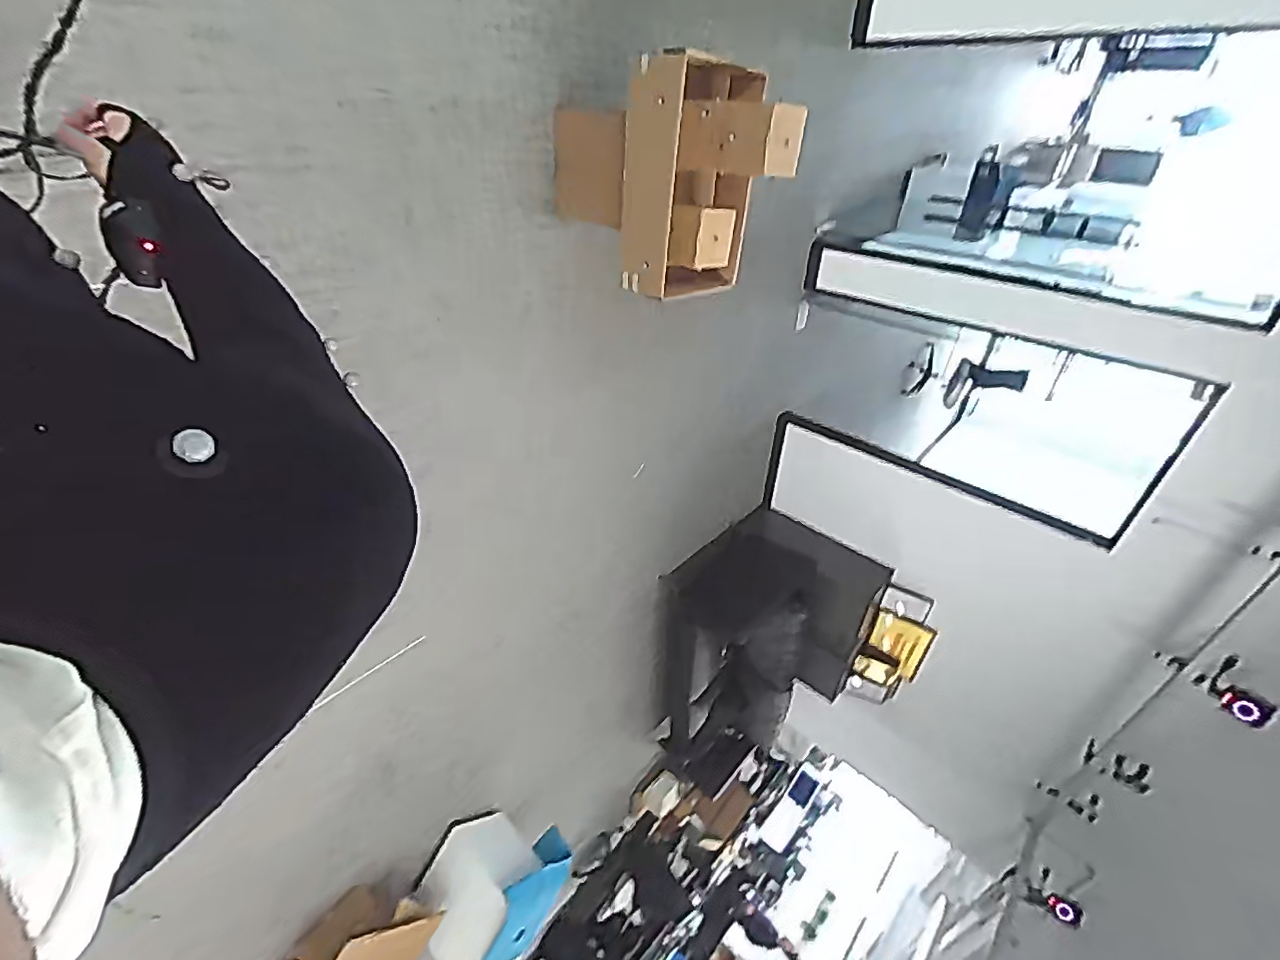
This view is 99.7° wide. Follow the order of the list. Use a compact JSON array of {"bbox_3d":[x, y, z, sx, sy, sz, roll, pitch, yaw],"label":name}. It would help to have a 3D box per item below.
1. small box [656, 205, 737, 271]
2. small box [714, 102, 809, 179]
[{"bbox_3d":[0.175,-0.765,1.700,0.179,0.176,0.168,-25,132,-40],"label":"small box"},{"bbox_3d":[0.330,-0.929,1.481,0.179,0.176,0.168,-27,133,-40],"label":"small box"}]
